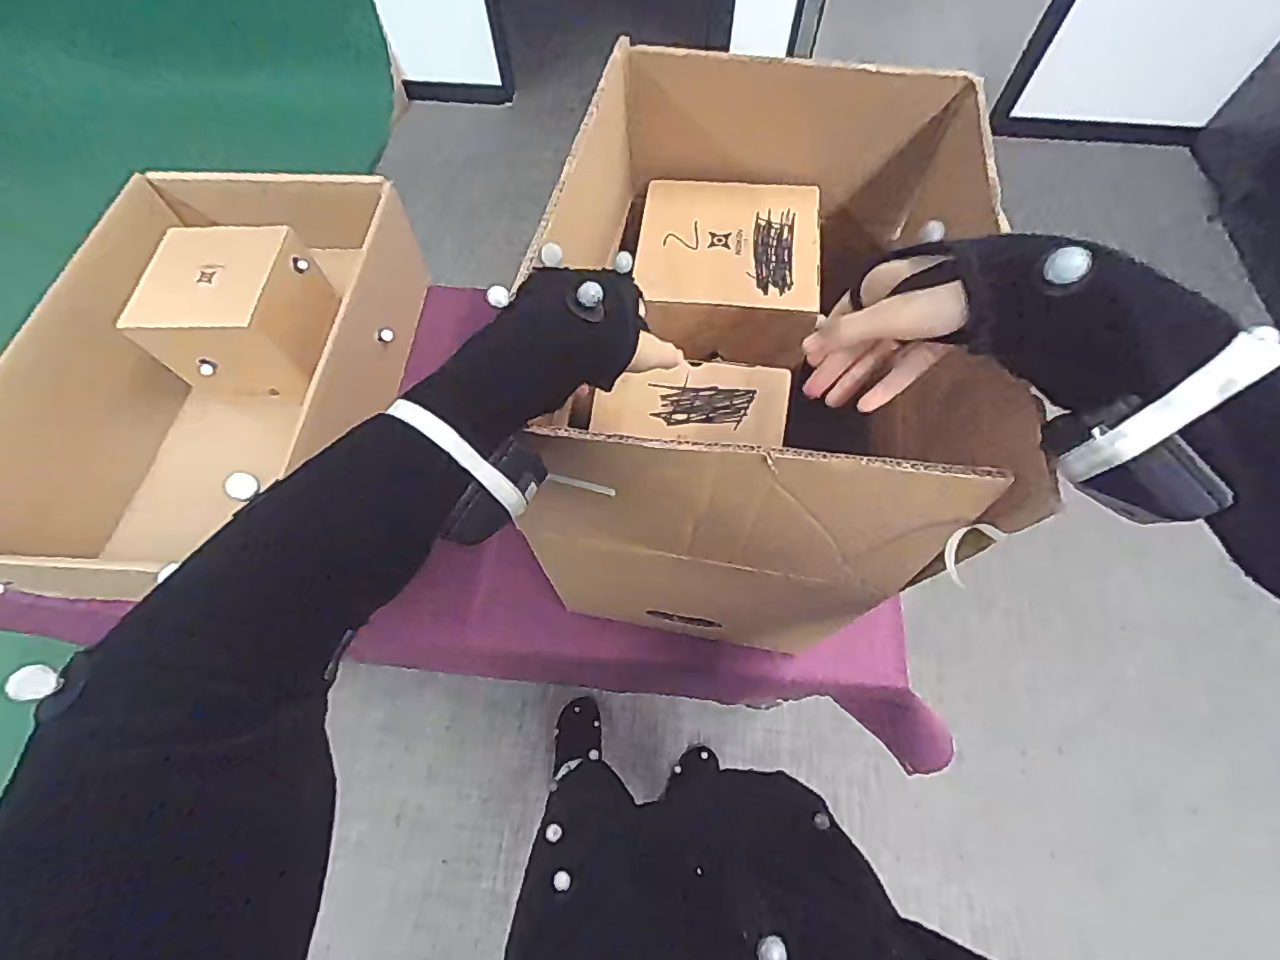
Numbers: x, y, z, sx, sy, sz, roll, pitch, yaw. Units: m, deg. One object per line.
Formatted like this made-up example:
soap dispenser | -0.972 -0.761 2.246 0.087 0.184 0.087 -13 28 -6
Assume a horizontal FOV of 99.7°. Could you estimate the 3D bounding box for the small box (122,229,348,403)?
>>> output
small box | -0.544 -0.221 0.759 0.168 0.176 0.179 -1 64 2
